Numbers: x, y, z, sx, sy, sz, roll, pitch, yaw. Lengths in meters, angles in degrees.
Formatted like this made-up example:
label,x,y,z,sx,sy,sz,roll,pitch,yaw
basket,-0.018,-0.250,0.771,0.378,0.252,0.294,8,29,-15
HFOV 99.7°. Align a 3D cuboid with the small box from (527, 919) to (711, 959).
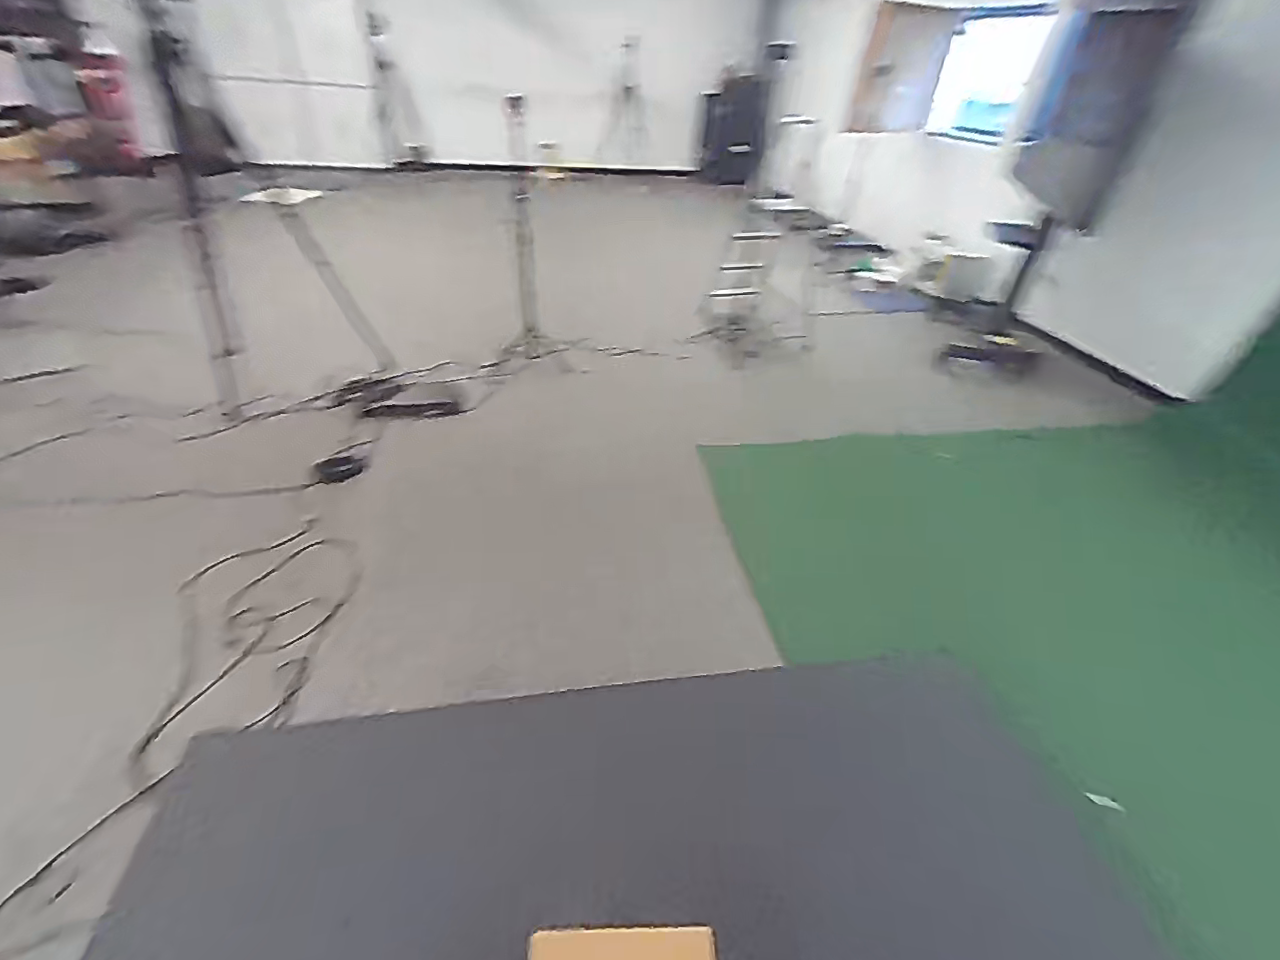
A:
label,x,y,z,sx,sy,sz,roll,pitch,yaw
small box,-0.022,0.521,0.475,0.168,0.176,0.179,1,37,-2
